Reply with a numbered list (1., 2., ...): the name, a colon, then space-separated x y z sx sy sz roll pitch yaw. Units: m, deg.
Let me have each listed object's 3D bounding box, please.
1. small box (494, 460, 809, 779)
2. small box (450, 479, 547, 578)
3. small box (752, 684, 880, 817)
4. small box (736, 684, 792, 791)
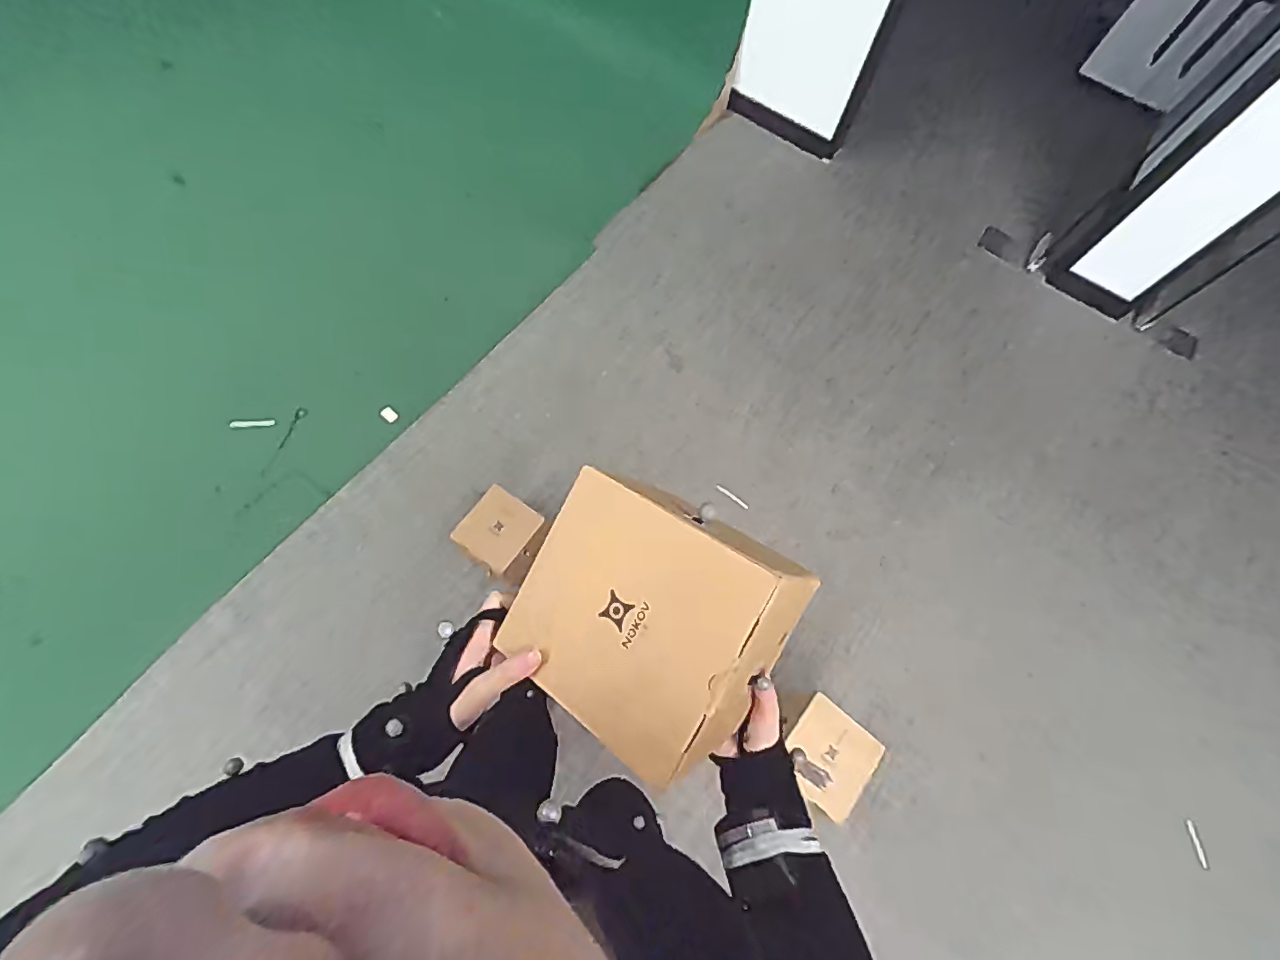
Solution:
1. small box: 0.020 0.106 0.460 0.179 0.176 0.168 30 94 27
2. small box: -0.356 0.134 1.409 0.168 0.176 0.179 35 70 8
3. small box: 0.353 0.552 1.124 0.168 0.176 0.179 40 70 11
4. small box: 0.345 0.609 1.279 0.168 0.176 0.179 38 71 10
